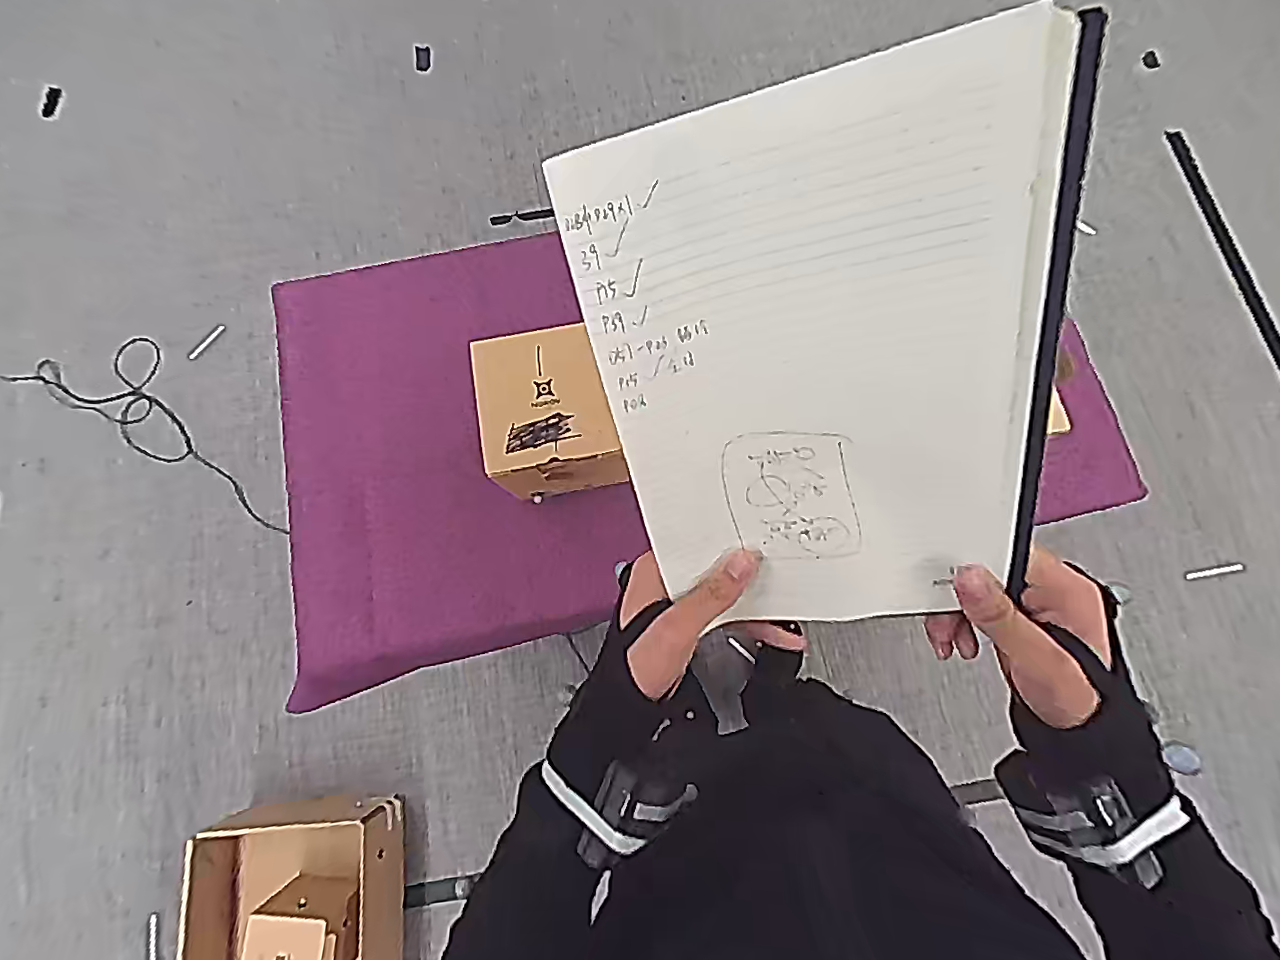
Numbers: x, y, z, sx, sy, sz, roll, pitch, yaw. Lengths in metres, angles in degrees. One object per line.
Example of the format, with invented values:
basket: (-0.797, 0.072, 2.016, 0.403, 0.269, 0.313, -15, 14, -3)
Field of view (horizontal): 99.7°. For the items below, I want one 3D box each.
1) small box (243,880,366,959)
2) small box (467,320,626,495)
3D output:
small box: (-0.738, 1.022, 1.198, 0.179, 0.176, 0.168, 3, 78, 2)
small box: (-0.115, -0.083, 0.722, 0.168, 0.176, 0.179, -10, 77, -1)
